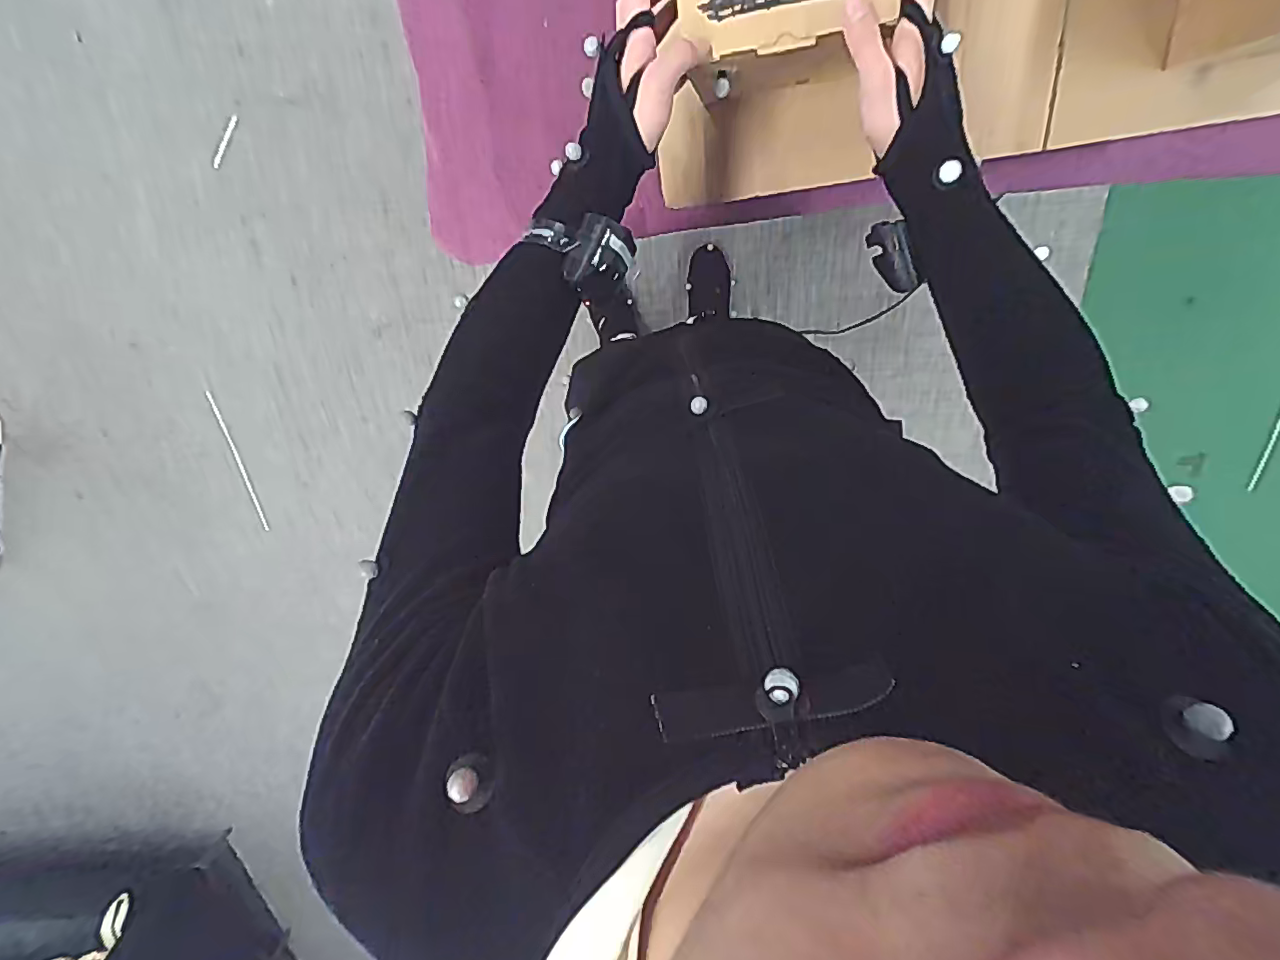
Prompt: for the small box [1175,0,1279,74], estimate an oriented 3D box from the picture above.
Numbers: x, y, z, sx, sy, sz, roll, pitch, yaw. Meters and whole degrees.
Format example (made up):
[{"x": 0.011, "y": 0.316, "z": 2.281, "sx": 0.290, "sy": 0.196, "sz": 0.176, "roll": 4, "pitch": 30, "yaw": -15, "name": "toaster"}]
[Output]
[{"x": 0.590, "y": -0.457, "z": 0.424, "sx": 0.168, "sy": 0.176, "sz": 0.179, "roll": -7, "pitch": 114, "yaw": 2, "name": "small box"}]
